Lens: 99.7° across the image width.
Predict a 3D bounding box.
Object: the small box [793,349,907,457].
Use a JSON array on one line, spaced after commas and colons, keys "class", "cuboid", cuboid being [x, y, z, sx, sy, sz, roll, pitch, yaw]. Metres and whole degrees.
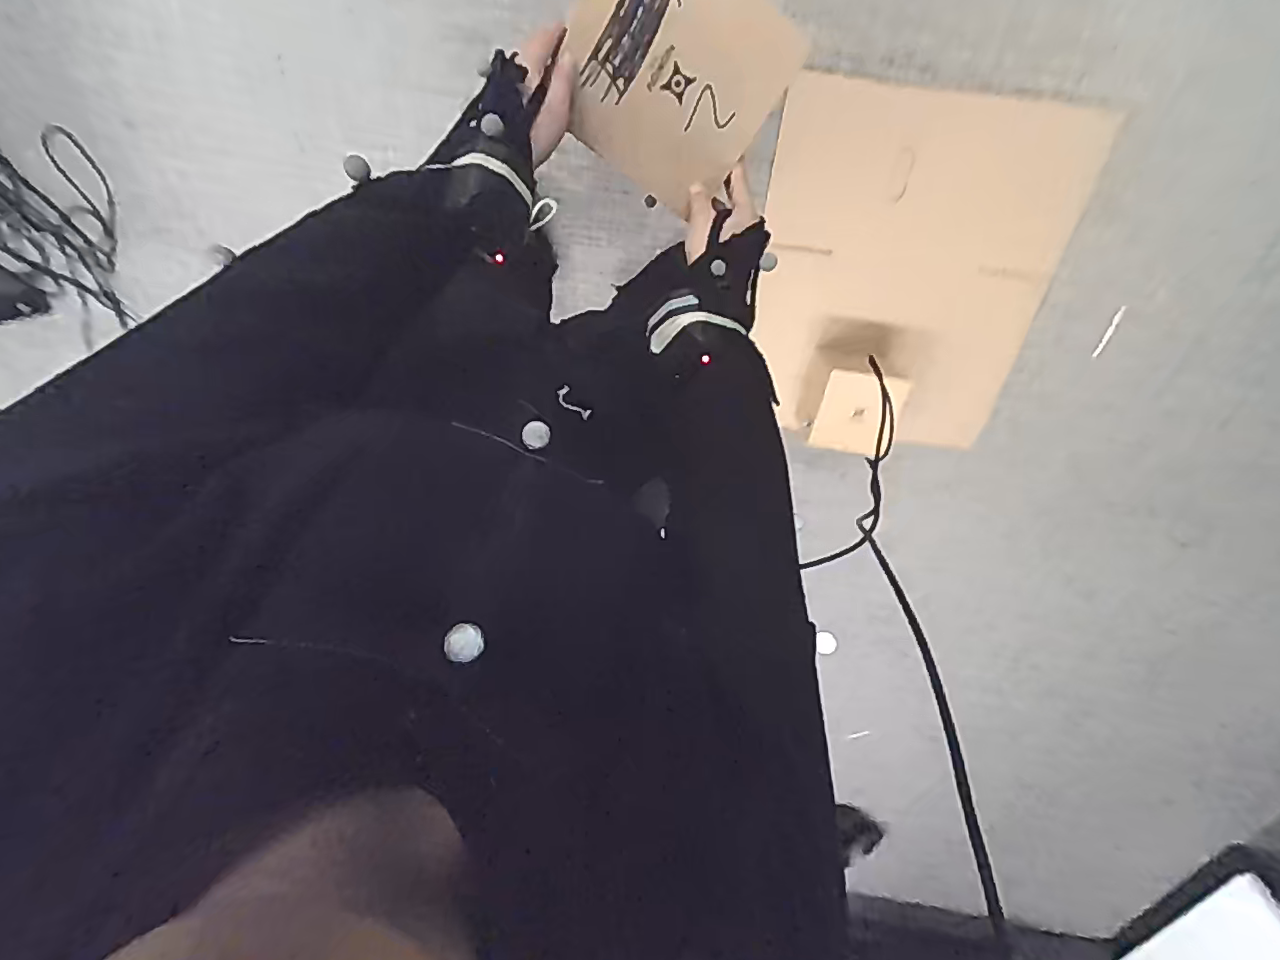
[{"class": "small box", "cuboid": [0.449, -0.175, 1.190, 0.168, 0.176, 0.179, 9, 121, 0]}]
